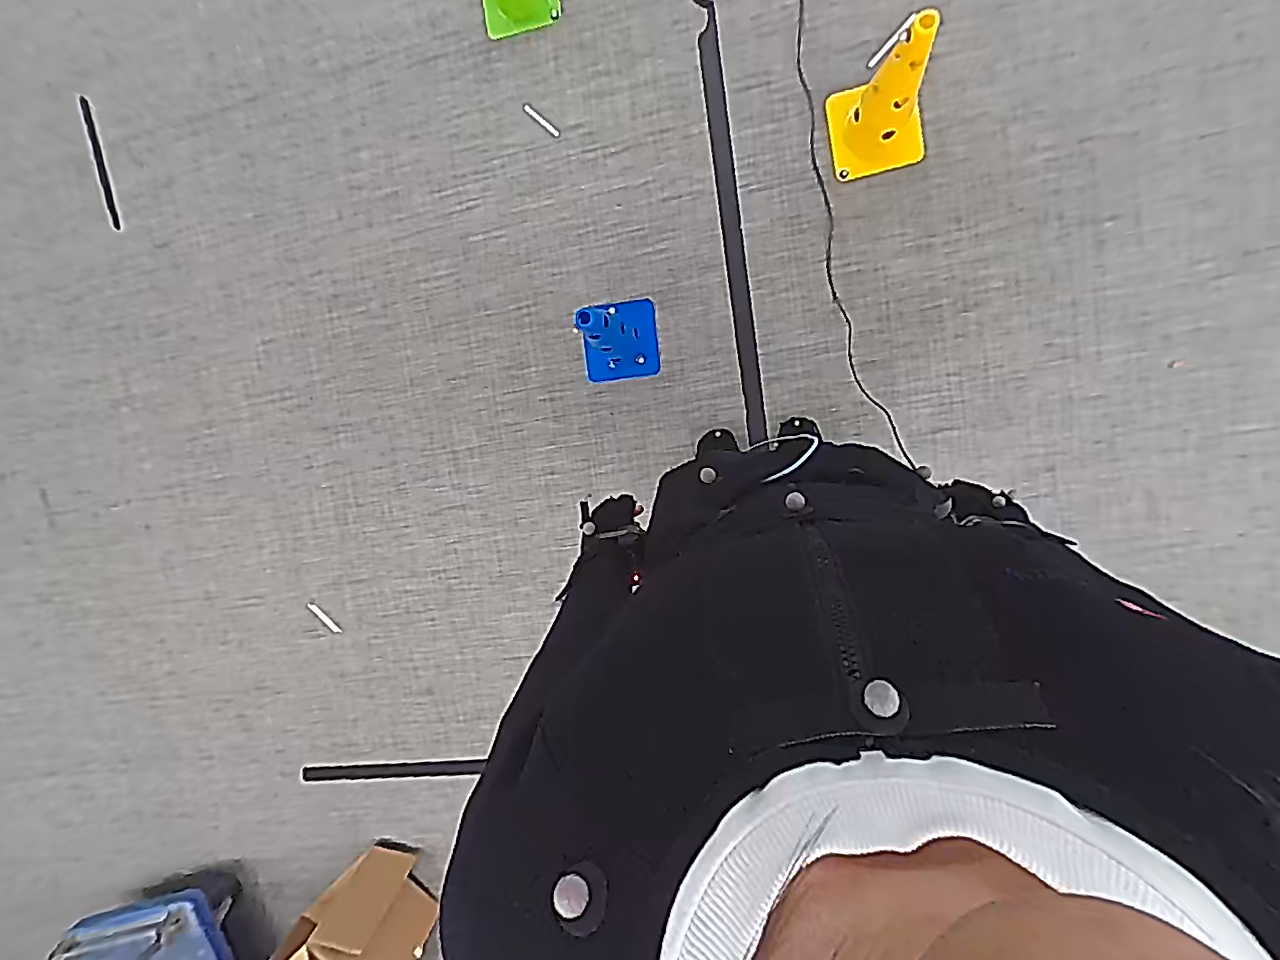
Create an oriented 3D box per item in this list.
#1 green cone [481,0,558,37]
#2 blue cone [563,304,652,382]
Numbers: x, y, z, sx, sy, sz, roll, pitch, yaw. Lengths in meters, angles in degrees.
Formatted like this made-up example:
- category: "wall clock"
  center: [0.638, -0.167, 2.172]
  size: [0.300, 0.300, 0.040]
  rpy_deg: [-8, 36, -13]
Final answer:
- category: "green cone"
  center: [-0.343, -1.228, 1.198]
  size: [0.202, 0.368, 0.200]
  rpy_deg: [-7, 96, 12]
- category: "blue cone"
  center: [-0.096, -0.347, 1.277]
  size: [0.192, 0.380, 0.193]
  rpy_deg: [-4, 96, 11]
